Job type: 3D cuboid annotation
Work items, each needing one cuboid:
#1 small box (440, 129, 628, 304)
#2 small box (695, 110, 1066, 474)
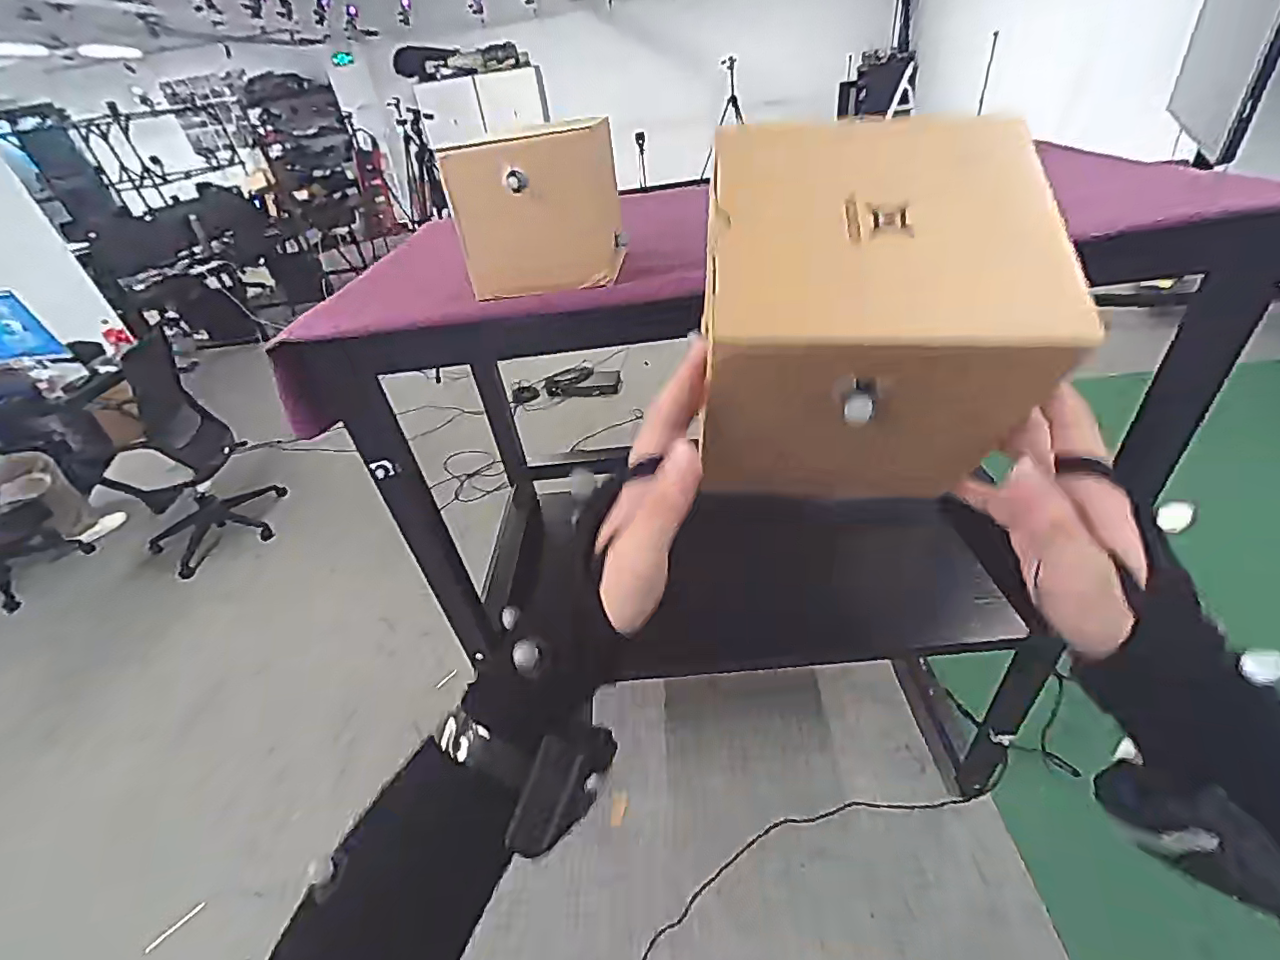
[{"bbox_3d":[-0.120,-0.334,0.690,0.179,0.176,0.168,-3,36,7],"label":"small box"},{"bbox_3d":[0.128,-0.112,0.368,0.179,0.176,0.168,1,64,7],"label":"small box"}]
